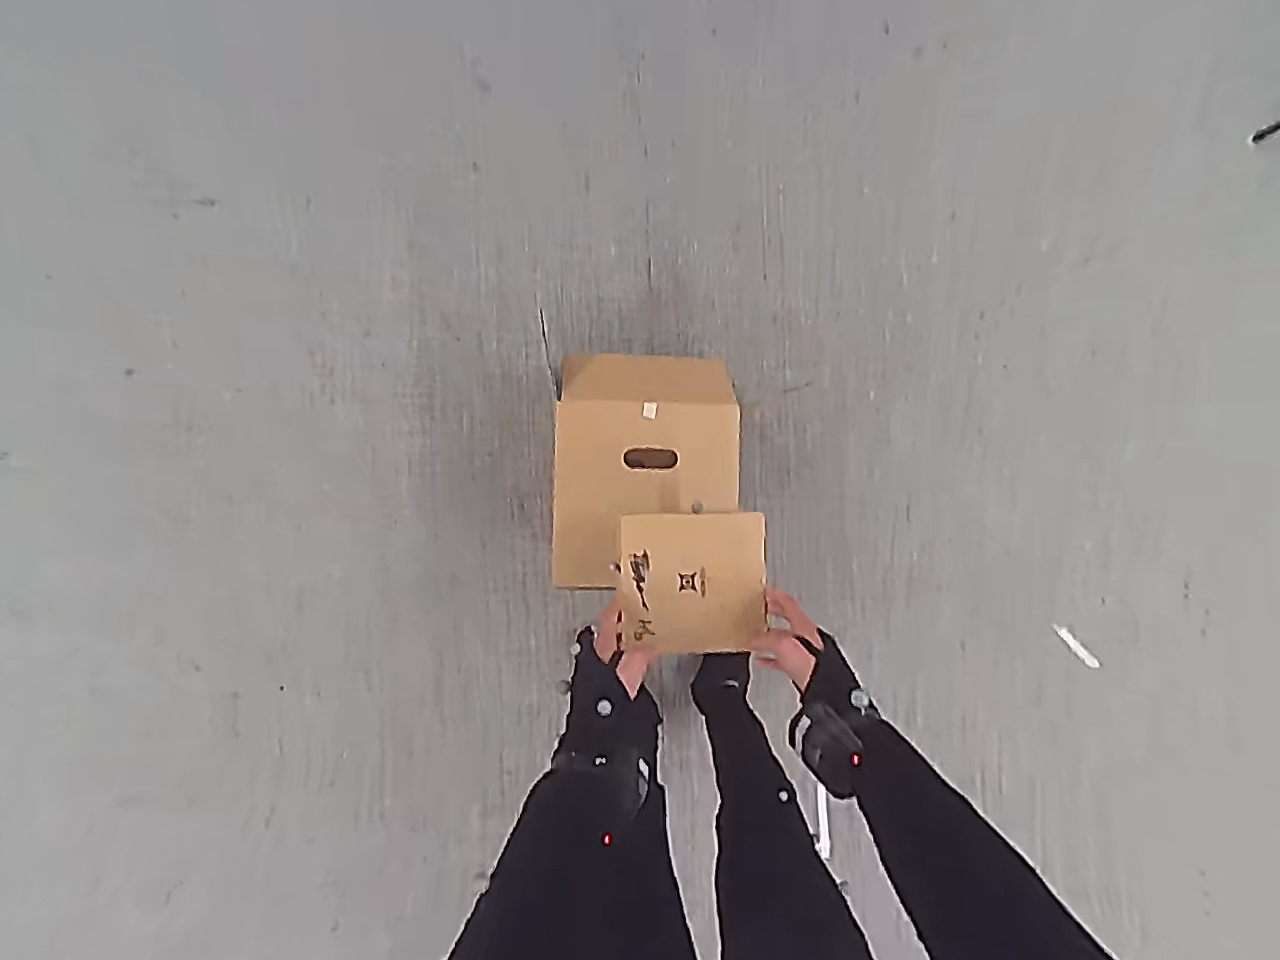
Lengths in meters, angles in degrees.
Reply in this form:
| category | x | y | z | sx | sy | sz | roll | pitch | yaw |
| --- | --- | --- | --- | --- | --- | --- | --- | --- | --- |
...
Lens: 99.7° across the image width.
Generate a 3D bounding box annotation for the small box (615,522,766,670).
| category | x | y | z | sx | sy | sz | roll | pitch | yaw |
| --- | --- | --- | --- | --- | --- | --- | --- | --- | --- |
| small box | 0.058 | 0.143 | 0.722 | 0.179 | 0.176 | 0.168 | 0 | 88 | -4 |
